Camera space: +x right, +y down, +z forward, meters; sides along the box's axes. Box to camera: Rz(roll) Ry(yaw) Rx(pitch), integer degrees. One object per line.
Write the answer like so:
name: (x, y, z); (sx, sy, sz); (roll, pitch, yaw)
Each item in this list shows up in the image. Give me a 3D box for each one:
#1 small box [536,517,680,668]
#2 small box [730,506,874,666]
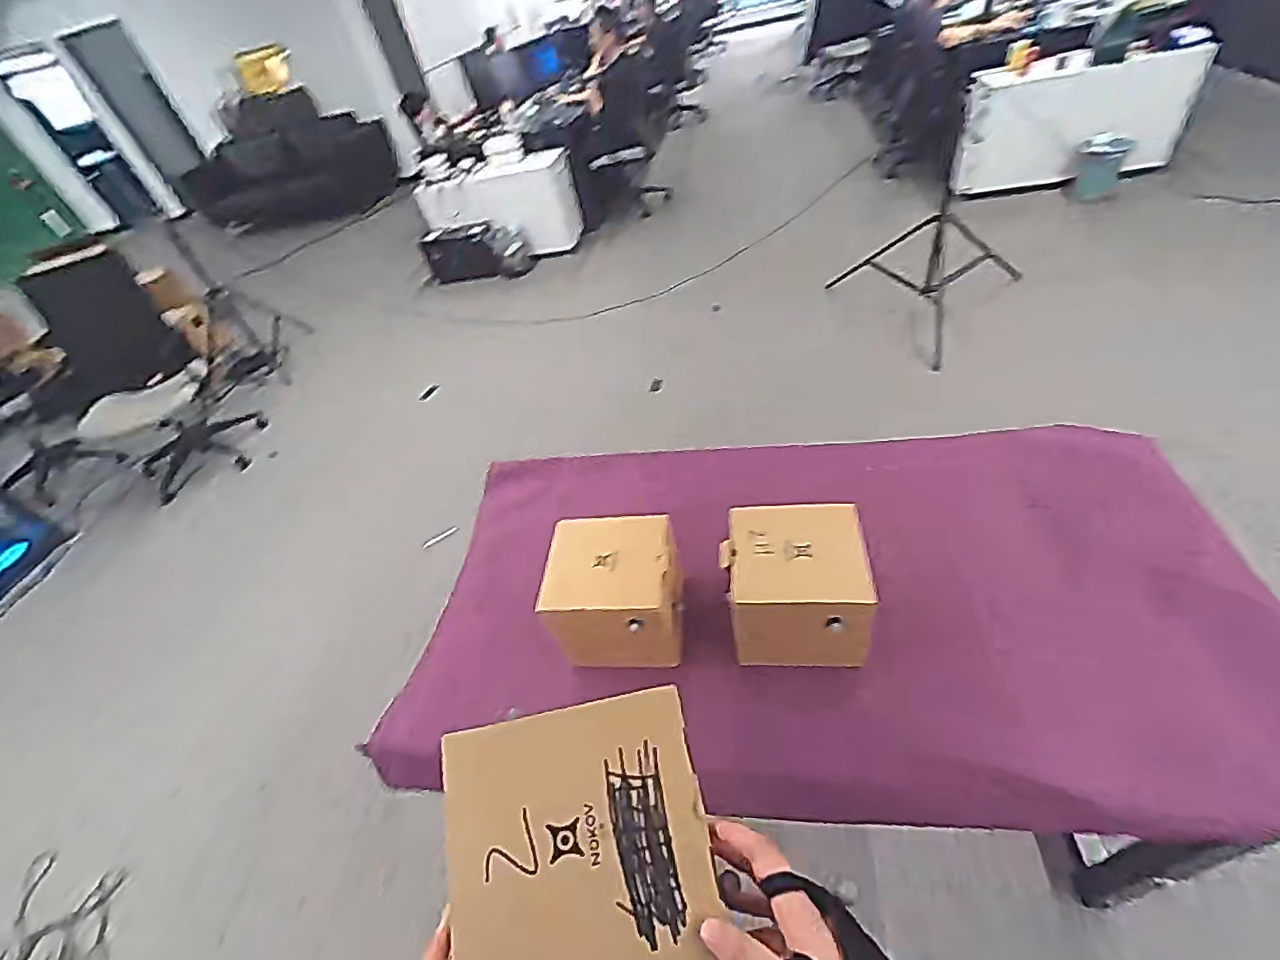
small box: (-0.038, 0.178, 0.836); (0.179, 0.176, 0.168); (-4, 44, 10)
small box: (0.222, 0.155, 0.784); (0.179, 0.176, 0.168); (-3, 44, 11)
